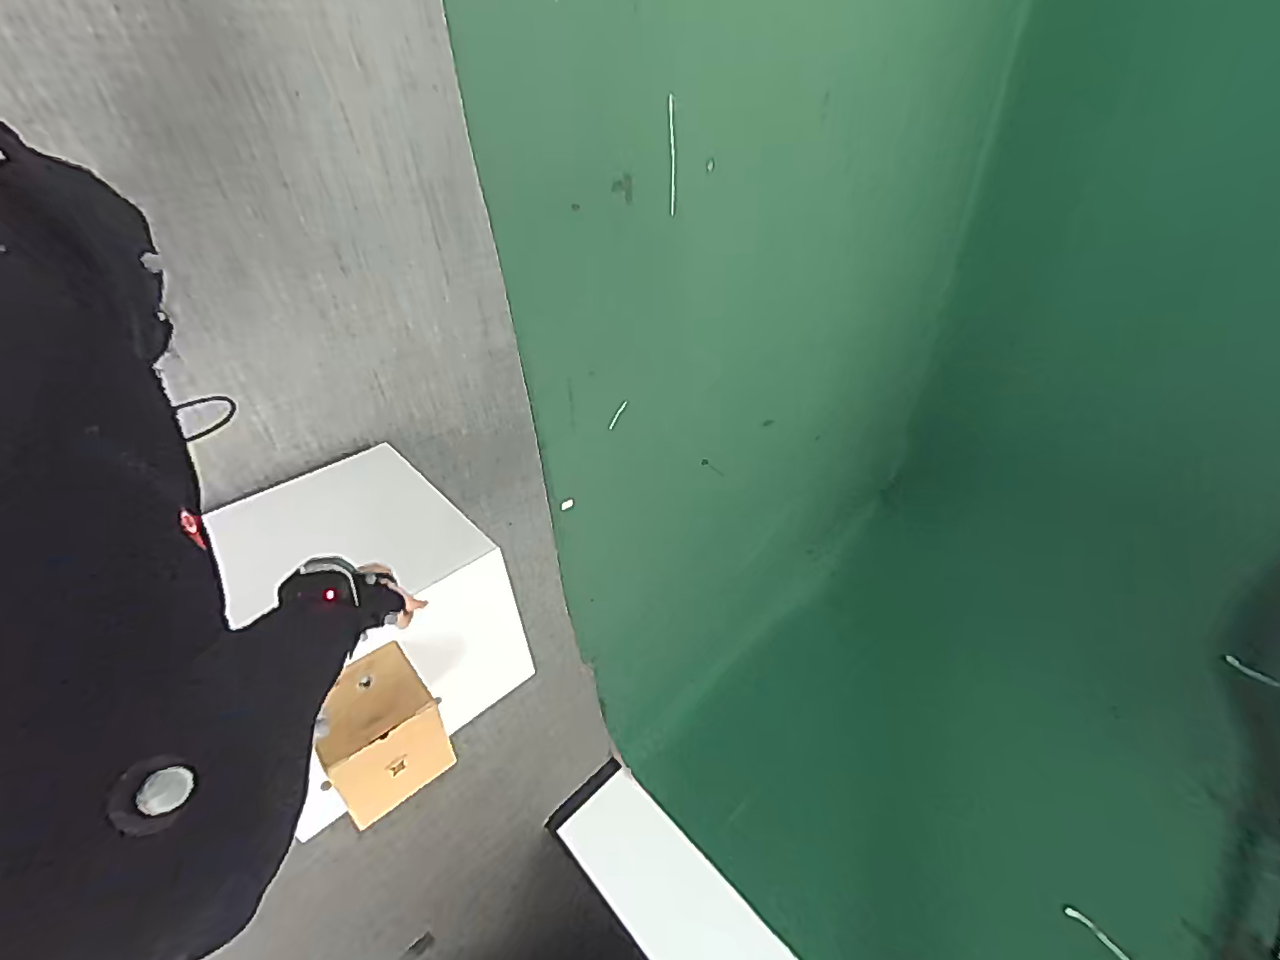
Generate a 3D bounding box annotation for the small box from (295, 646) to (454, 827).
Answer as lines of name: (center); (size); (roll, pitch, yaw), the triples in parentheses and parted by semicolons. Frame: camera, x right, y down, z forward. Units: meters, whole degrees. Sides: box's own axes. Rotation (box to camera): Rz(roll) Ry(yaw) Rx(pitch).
small box: (-0.436, 0.414, 0.895); (0.168, 0.176, 0.179); (-28, 132, -34)
